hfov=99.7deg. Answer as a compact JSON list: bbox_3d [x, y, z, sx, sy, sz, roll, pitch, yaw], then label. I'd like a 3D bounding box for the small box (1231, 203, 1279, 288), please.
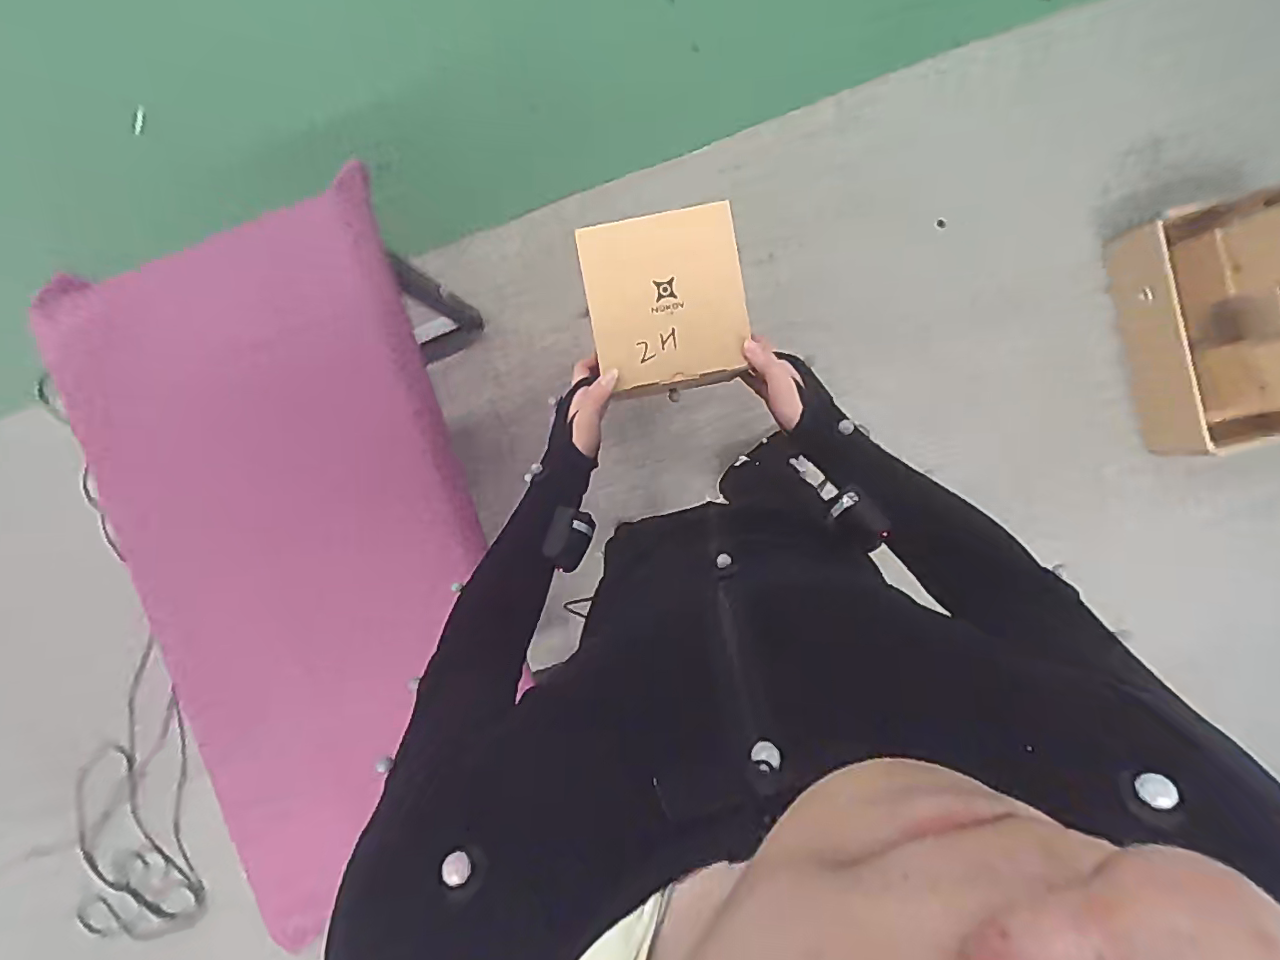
[{"bbox_3d":[1.482,-0.545,1.183,0.179,0.176,0.168,-17,91,3],"label":"small box"}]

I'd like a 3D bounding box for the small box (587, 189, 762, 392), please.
[{"bbox_3d":[0.037,-0.207,0.637,0.168,0.176,0.179,-9,95,2],"label":"small box"}]
